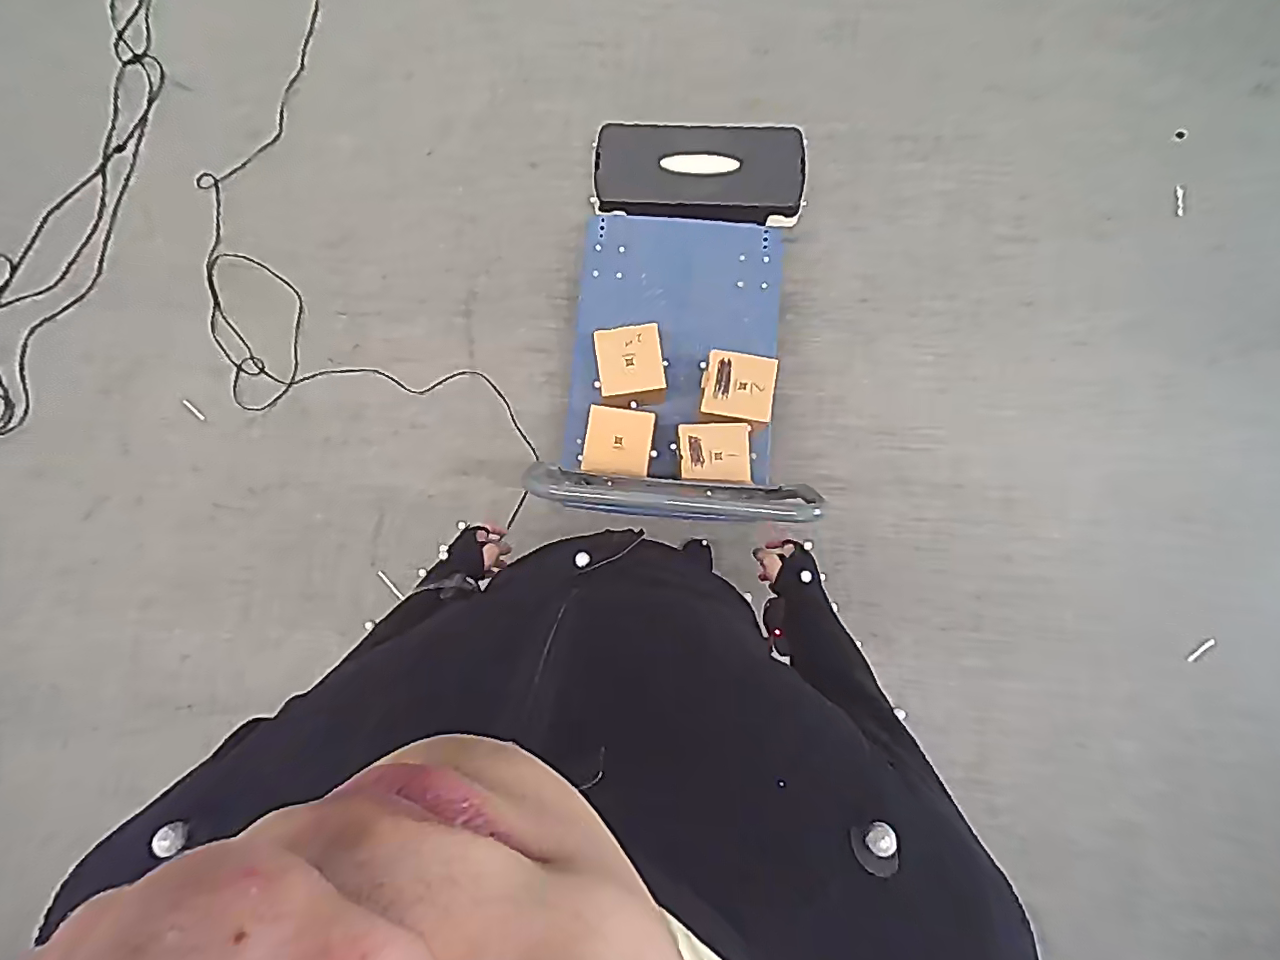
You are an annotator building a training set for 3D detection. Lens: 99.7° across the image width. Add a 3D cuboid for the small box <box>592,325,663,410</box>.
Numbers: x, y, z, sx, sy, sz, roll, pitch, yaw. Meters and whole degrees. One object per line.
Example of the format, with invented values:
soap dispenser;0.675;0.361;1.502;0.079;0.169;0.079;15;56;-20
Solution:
small box;-0.031;-0.291;1.444;0.168;0.176;0.179;-8;84;-1
